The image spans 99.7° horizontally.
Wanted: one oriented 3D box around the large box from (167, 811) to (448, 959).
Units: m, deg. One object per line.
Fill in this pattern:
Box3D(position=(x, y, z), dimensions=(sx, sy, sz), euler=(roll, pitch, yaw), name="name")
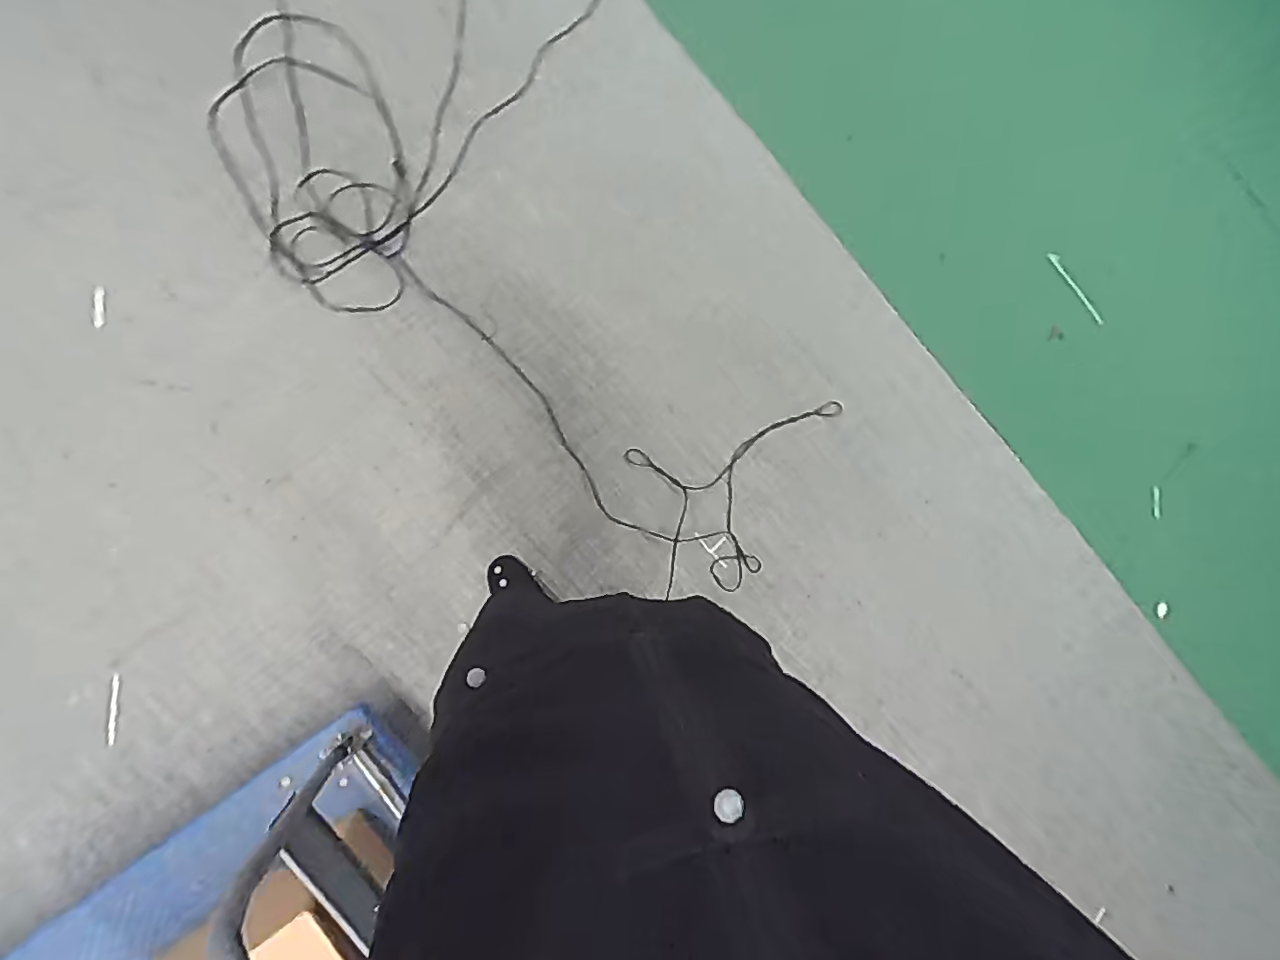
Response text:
Box3D(position=(-0.595, 0.884, 0.911), dimensions=(0.408, 0.320, 0.320), euler=(-35, 93, -15), name="large box")
